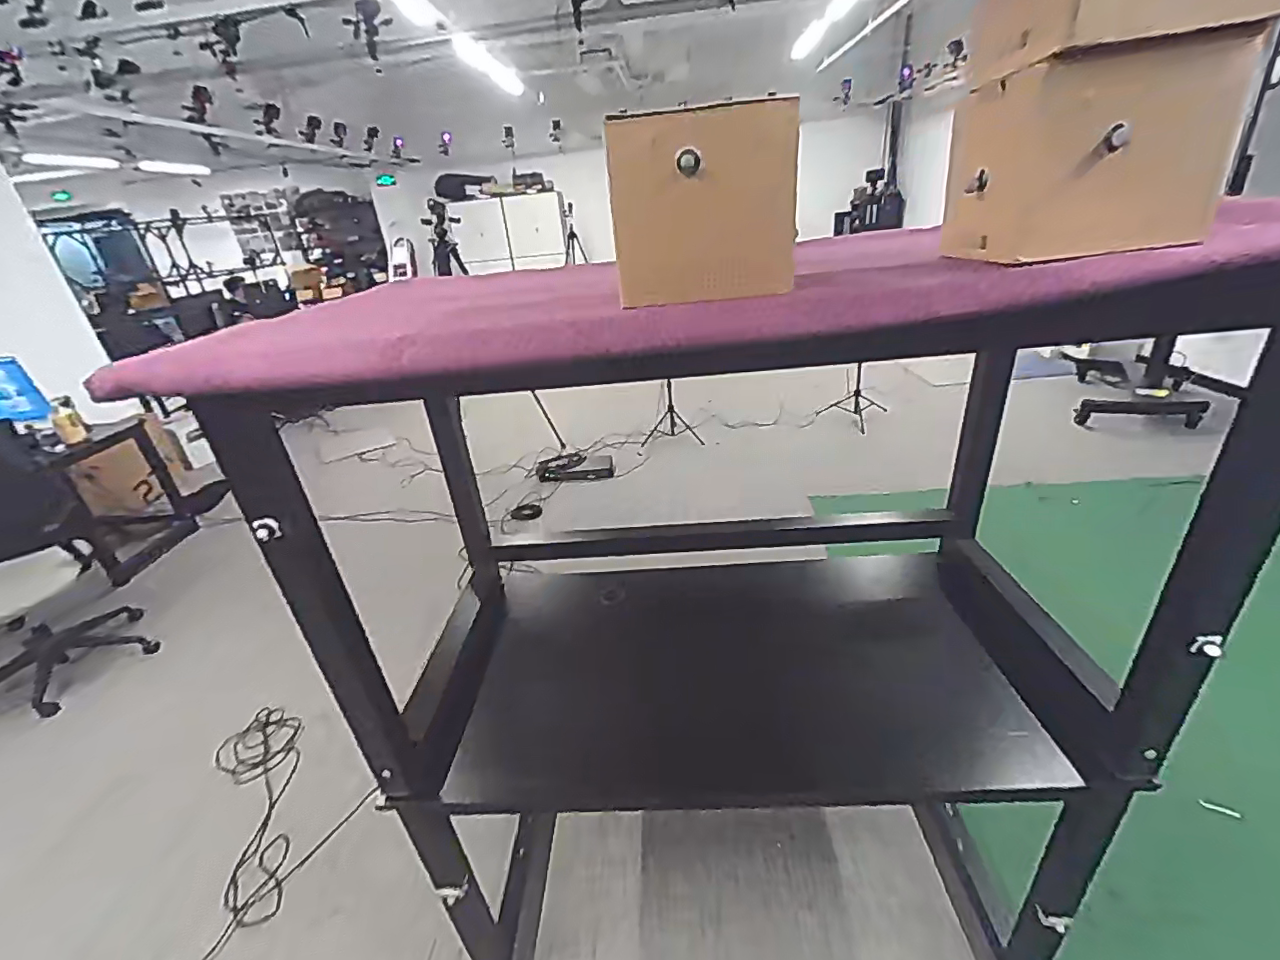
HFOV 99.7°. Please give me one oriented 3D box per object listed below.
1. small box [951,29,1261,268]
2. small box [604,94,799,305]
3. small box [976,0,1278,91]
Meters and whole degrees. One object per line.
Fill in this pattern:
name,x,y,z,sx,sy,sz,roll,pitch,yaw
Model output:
small box,0.444,-0.320,0.557,0.179,0.176,0.168,-5,25,6
small box,0.066,-0.288,0.579,0.179,0.176,0.168,-3,28,5
small box,0.425,-0.461,0.477,0.179,0.176,0.168,-4,24,5
